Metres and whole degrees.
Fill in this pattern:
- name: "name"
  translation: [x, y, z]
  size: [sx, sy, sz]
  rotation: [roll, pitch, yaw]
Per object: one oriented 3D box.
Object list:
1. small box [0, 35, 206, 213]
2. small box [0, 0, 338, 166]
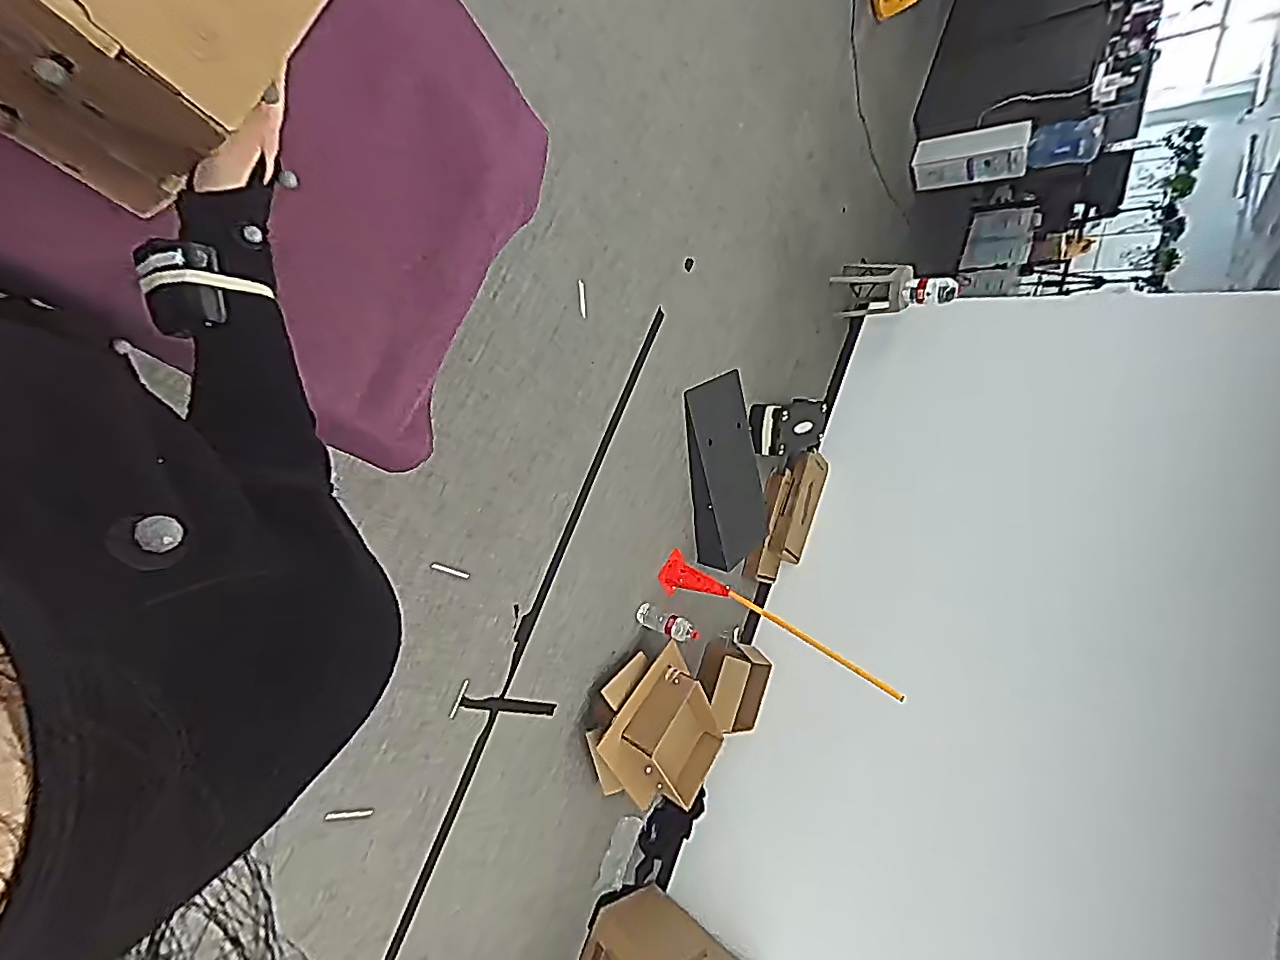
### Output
- name: "small box"
  translation: [-0.479, -0.372, 0.486]
  size: [0.168, 0.176, 0.179]
  rotation: [36, 72, -49]
- name: "small box"
  translation: [-0.337, -0.351, 0.368]
  size: [0.168, 0.176, 0.179]
  rotation: [37, 74, -49]
